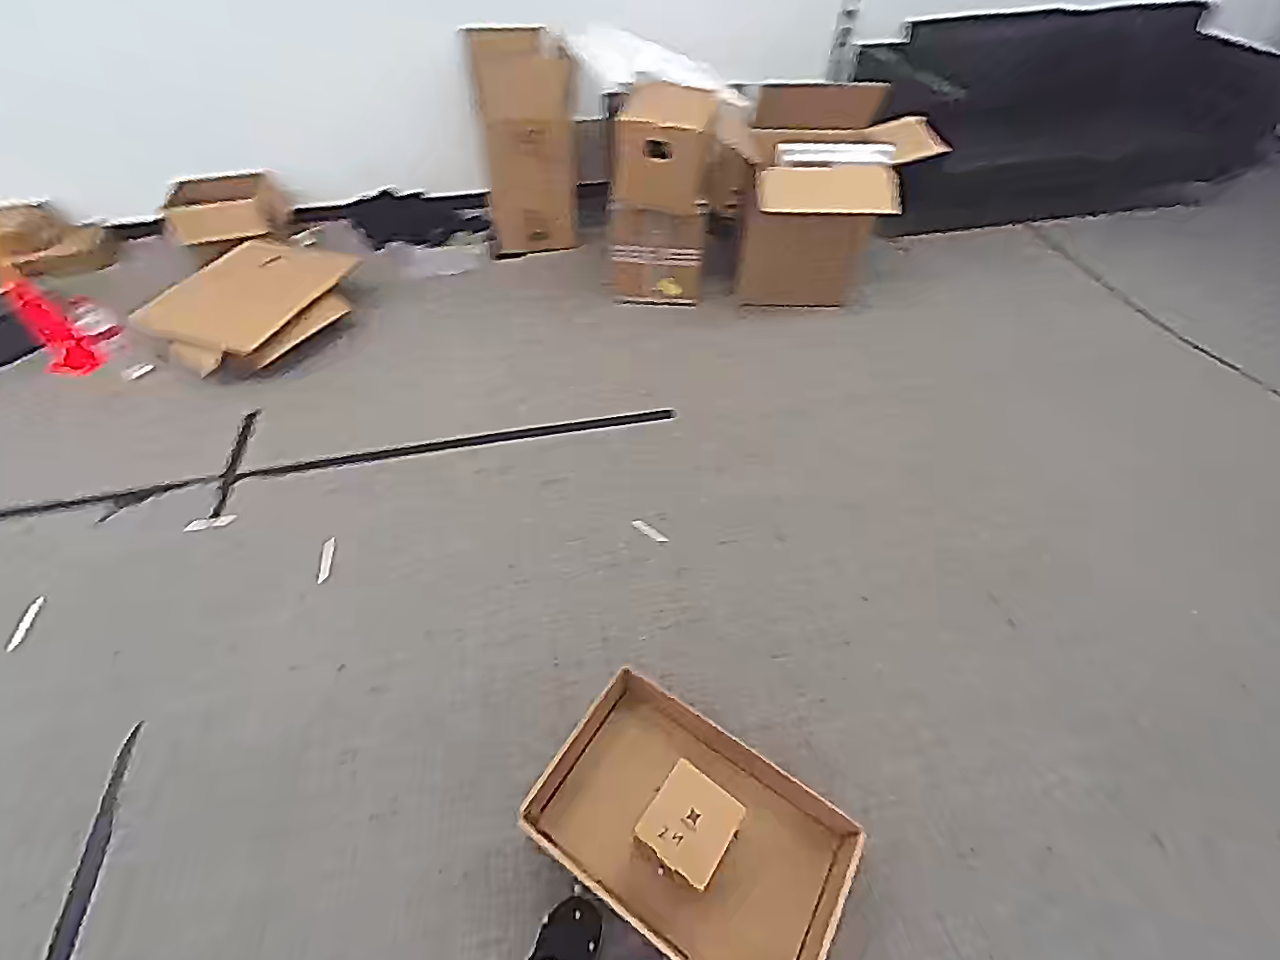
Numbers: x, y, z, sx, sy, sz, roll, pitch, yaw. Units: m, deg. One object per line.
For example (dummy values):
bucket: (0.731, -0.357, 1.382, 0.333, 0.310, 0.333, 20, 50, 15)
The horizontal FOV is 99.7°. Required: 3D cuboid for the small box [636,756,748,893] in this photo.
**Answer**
small box: (0.103, 0.733, 1.149, 0.168, 0.176, 0.179, 31, 56, 23)
